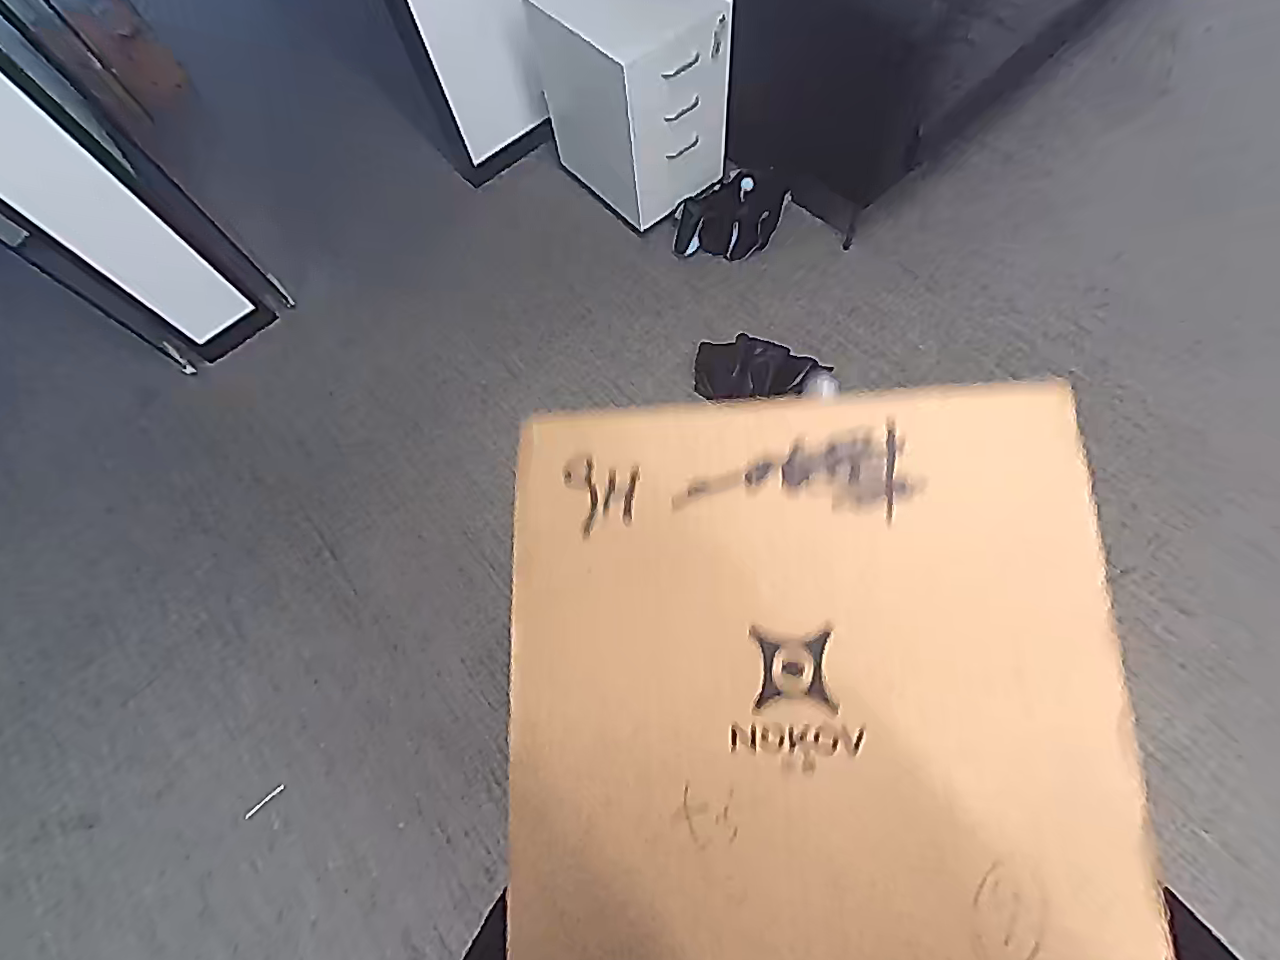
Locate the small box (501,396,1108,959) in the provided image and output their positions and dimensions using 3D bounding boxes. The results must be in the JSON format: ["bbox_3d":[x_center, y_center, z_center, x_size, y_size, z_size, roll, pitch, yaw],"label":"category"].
[{"bbox_3d":[0.052,0.073,0.236,0.168,0.176,0.179,-2,82,9],"label":"small box"}]
